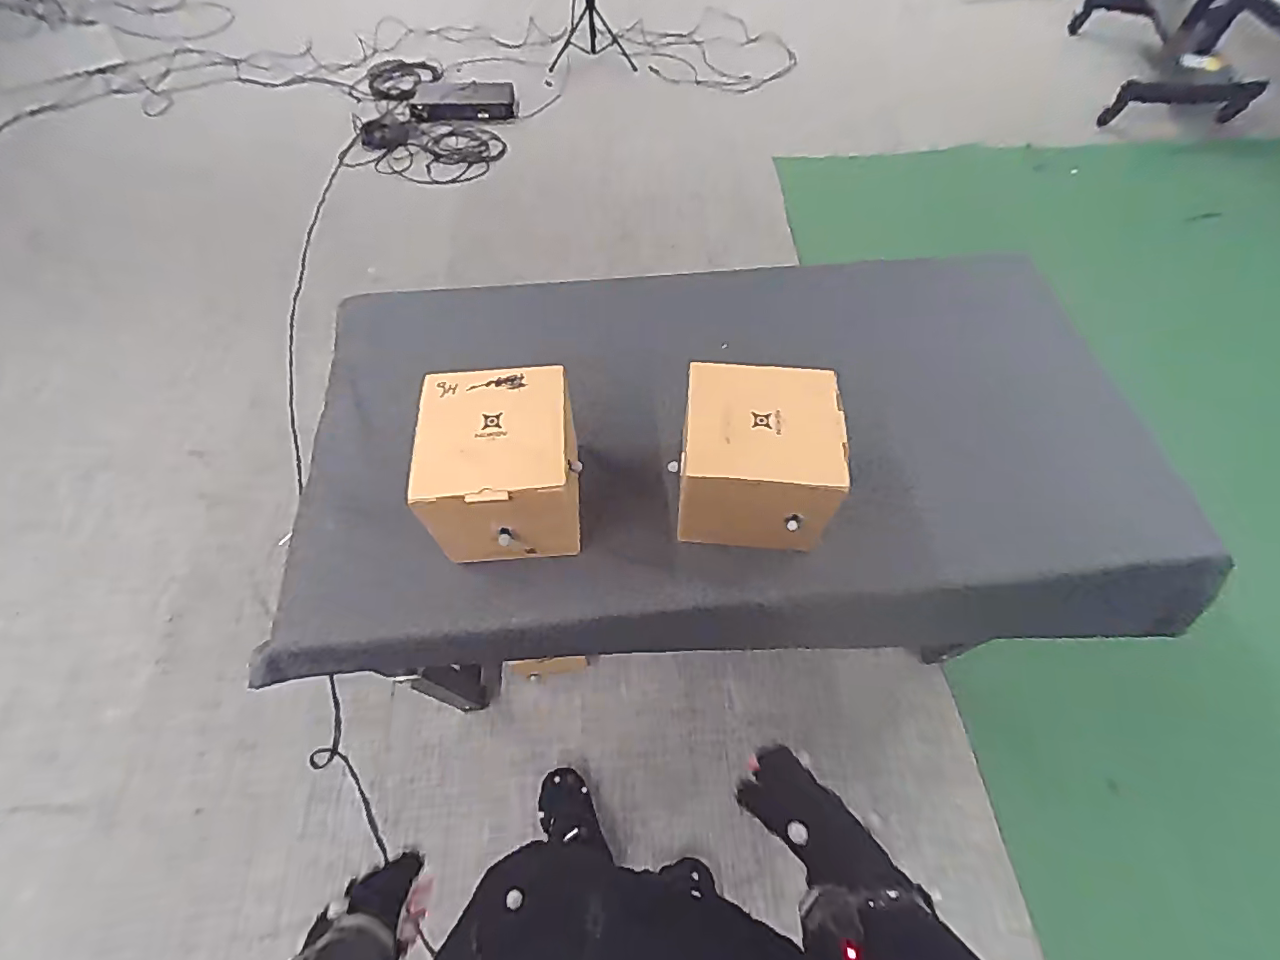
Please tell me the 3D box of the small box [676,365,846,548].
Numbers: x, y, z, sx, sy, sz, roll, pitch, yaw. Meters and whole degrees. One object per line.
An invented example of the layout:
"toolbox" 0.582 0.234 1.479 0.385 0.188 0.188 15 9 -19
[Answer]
"small box" 0.141 -0.023 0.684 0.179 0.176 0.168 4 59 3

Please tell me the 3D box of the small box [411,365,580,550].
"small box" -0.165 -0.019 0.677 0.168 0.176 0.179 -3 60 -3

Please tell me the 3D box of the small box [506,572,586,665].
"small box" -0.225 0.342 1.311 0.168 0.176 0.179 -7 61 -5
